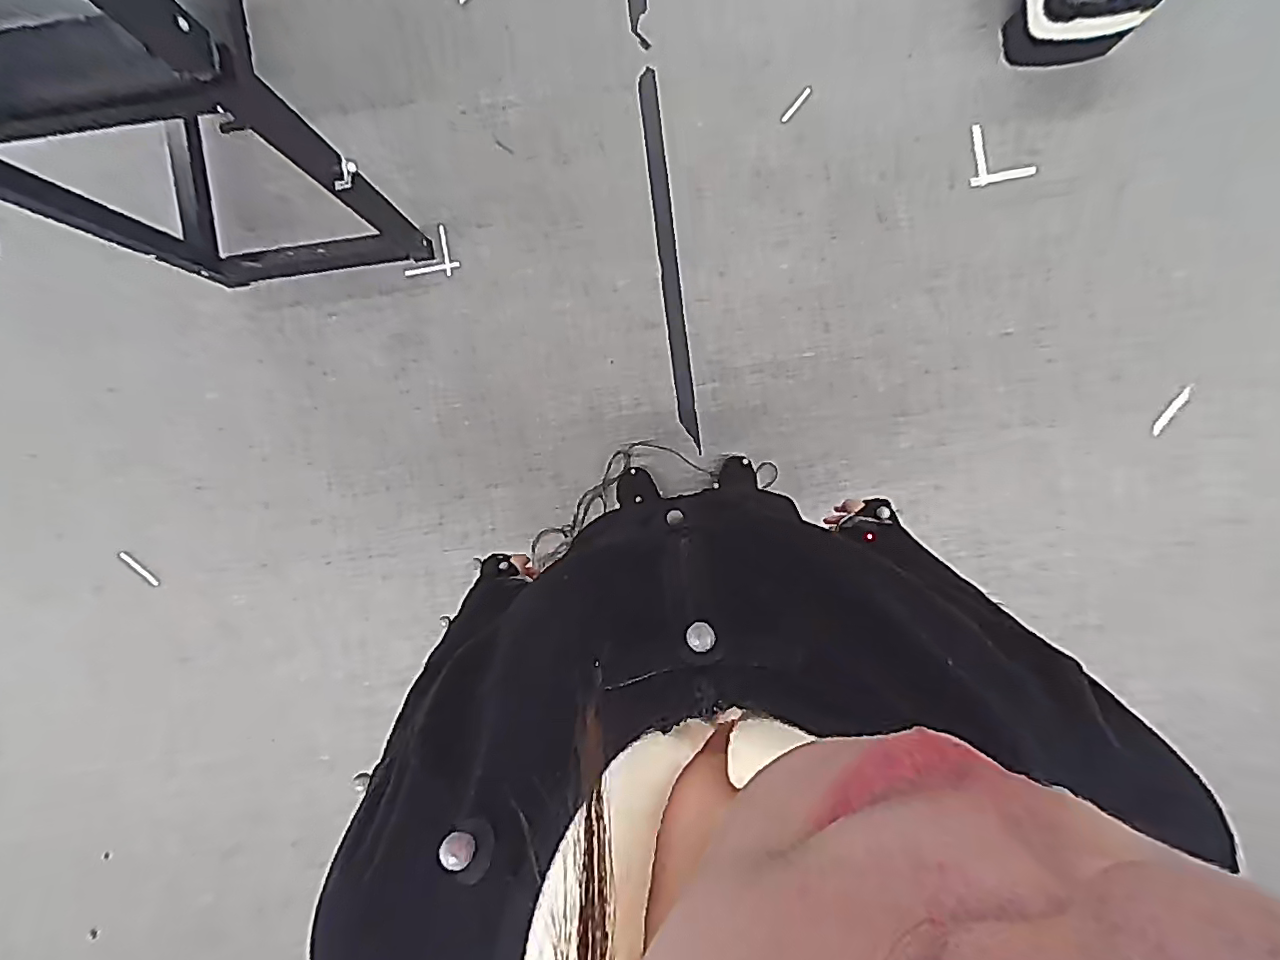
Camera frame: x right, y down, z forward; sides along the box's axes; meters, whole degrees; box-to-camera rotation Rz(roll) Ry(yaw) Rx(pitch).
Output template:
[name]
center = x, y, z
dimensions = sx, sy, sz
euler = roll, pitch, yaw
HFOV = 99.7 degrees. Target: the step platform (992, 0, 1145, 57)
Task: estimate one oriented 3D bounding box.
[step platform]
center = 1.055, -1.447, 1.311
dimensions = 0.286, 0.204, 0.684
euler = -2, 92, 1
